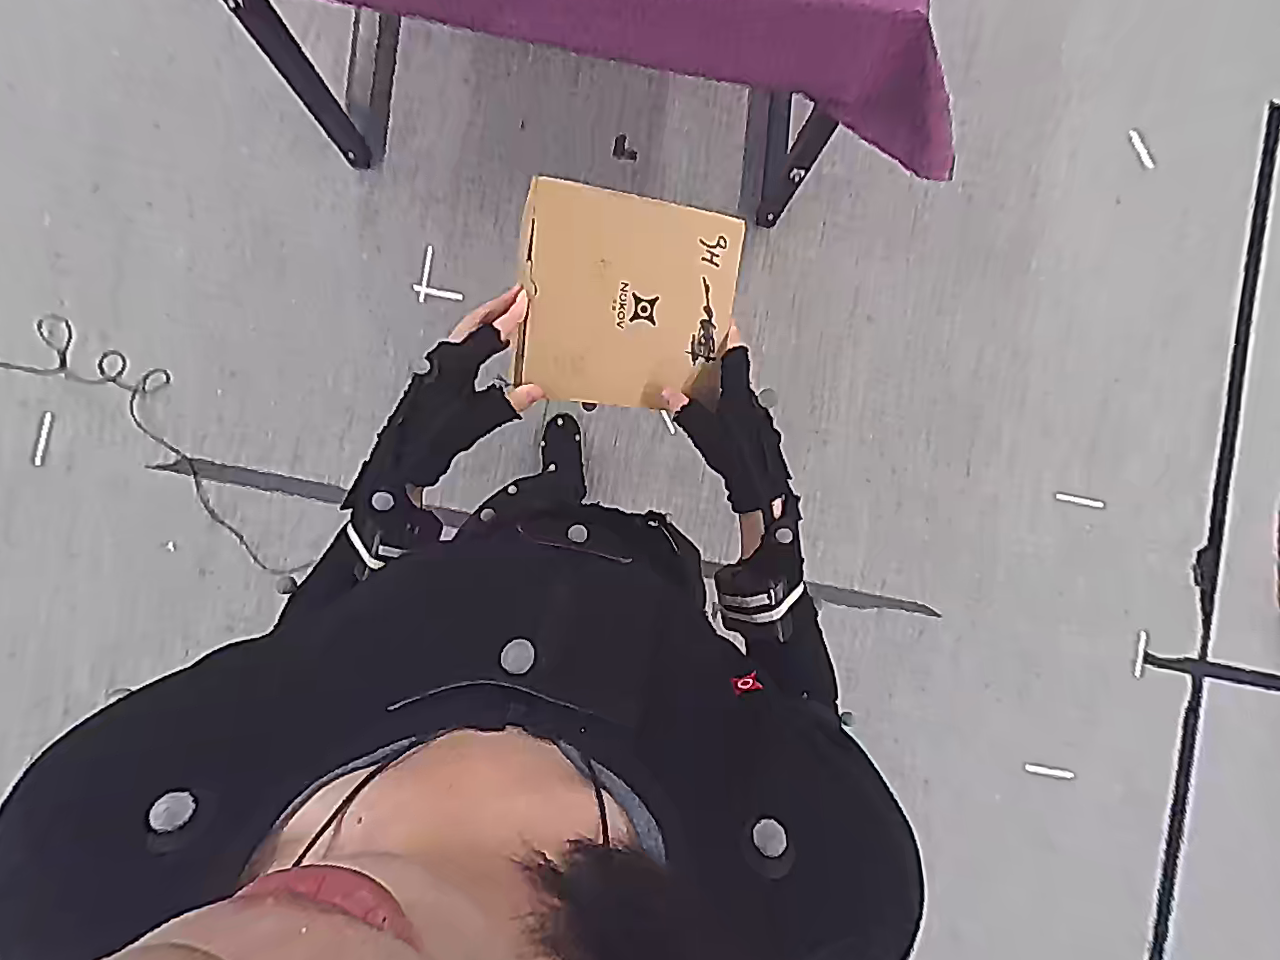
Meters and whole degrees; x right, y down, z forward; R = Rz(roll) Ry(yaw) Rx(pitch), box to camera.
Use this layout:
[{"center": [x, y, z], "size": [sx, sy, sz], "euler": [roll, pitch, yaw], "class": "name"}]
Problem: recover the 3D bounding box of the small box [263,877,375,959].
[{"center": [-0.774, 1.101, 1.304], "size": [0.179, 0.176, 0.168], "euler": [10, 87, -5], "class": "small box"}]
